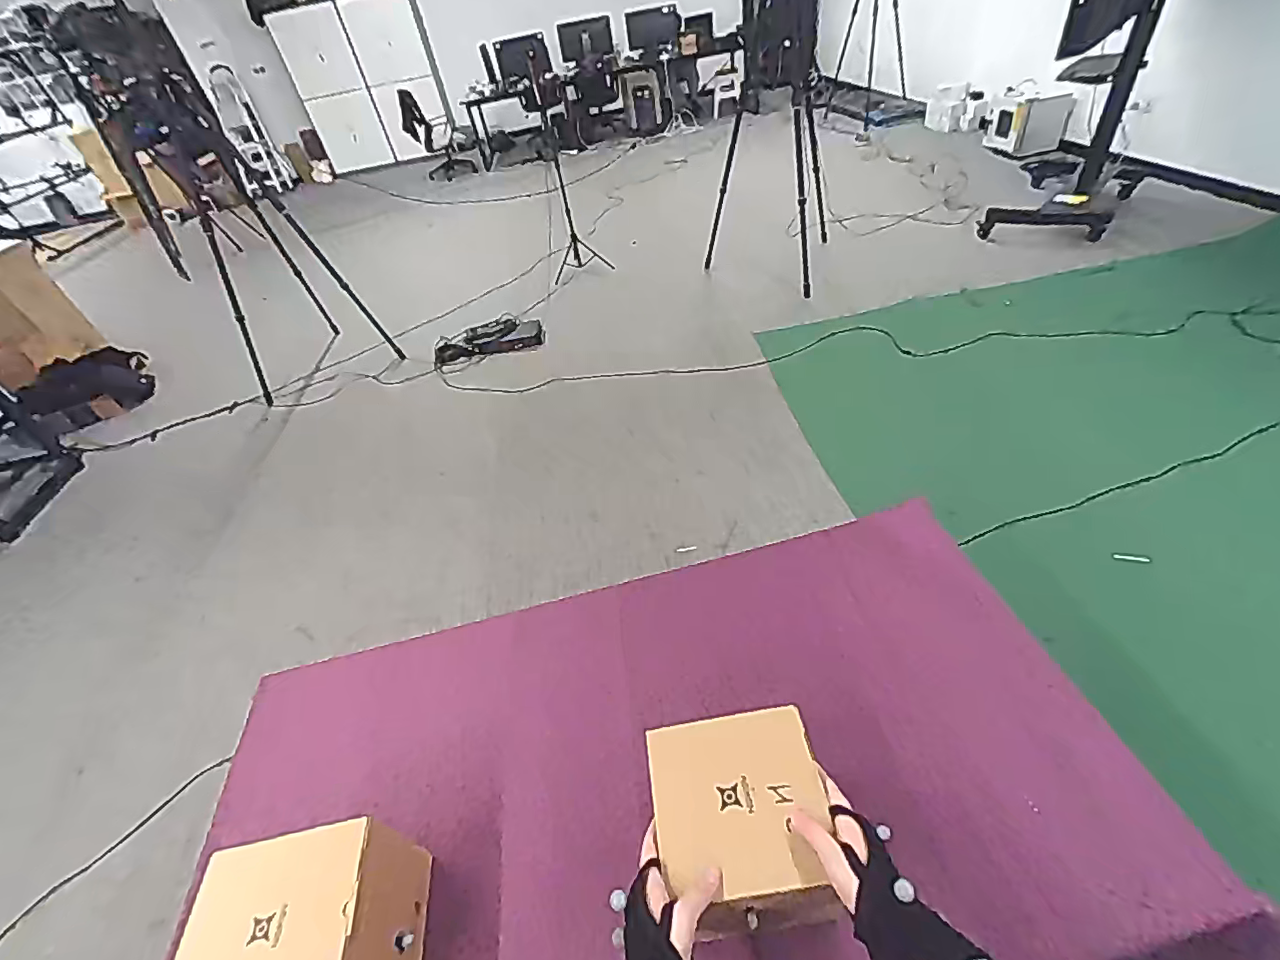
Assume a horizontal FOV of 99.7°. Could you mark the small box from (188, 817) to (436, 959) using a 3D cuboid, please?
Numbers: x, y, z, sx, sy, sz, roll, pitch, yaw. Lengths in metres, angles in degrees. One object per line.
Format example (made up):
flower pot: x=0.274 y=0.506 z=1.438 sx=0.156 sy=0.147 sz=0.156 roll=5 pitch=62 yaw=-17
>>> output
small box: x=-0.350 y=0.505 z=0.594 sx=0.179 sy=0.176 sz=0.168 roll=-13 pitch=42 yaw=-1

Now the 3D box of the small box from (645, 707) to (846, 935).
small box: x=0.112 y=0.383 z=0.604 sx=0.179 sy=0.176 sz=0.168 roll=-11 pitch=43 yaw=3
